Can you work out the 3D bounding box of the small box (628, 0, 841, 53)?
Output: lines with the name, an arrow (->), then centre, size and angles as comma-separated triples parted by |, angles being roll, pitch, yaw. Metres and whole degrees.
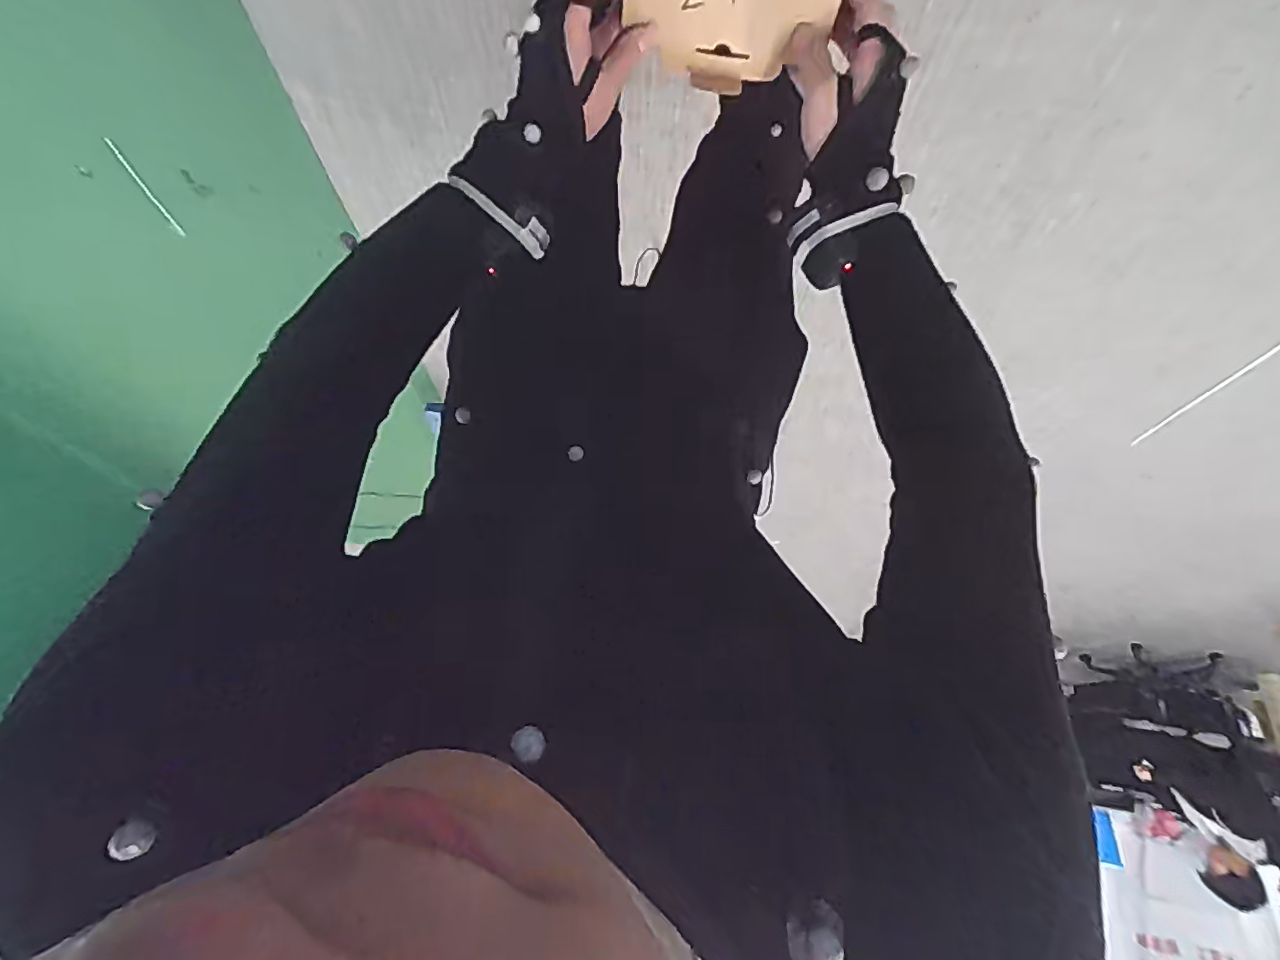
small box -> 0.082, -0.470, 0.415 | 0.168, 0.176, 0.179 | 6, 141, -5
